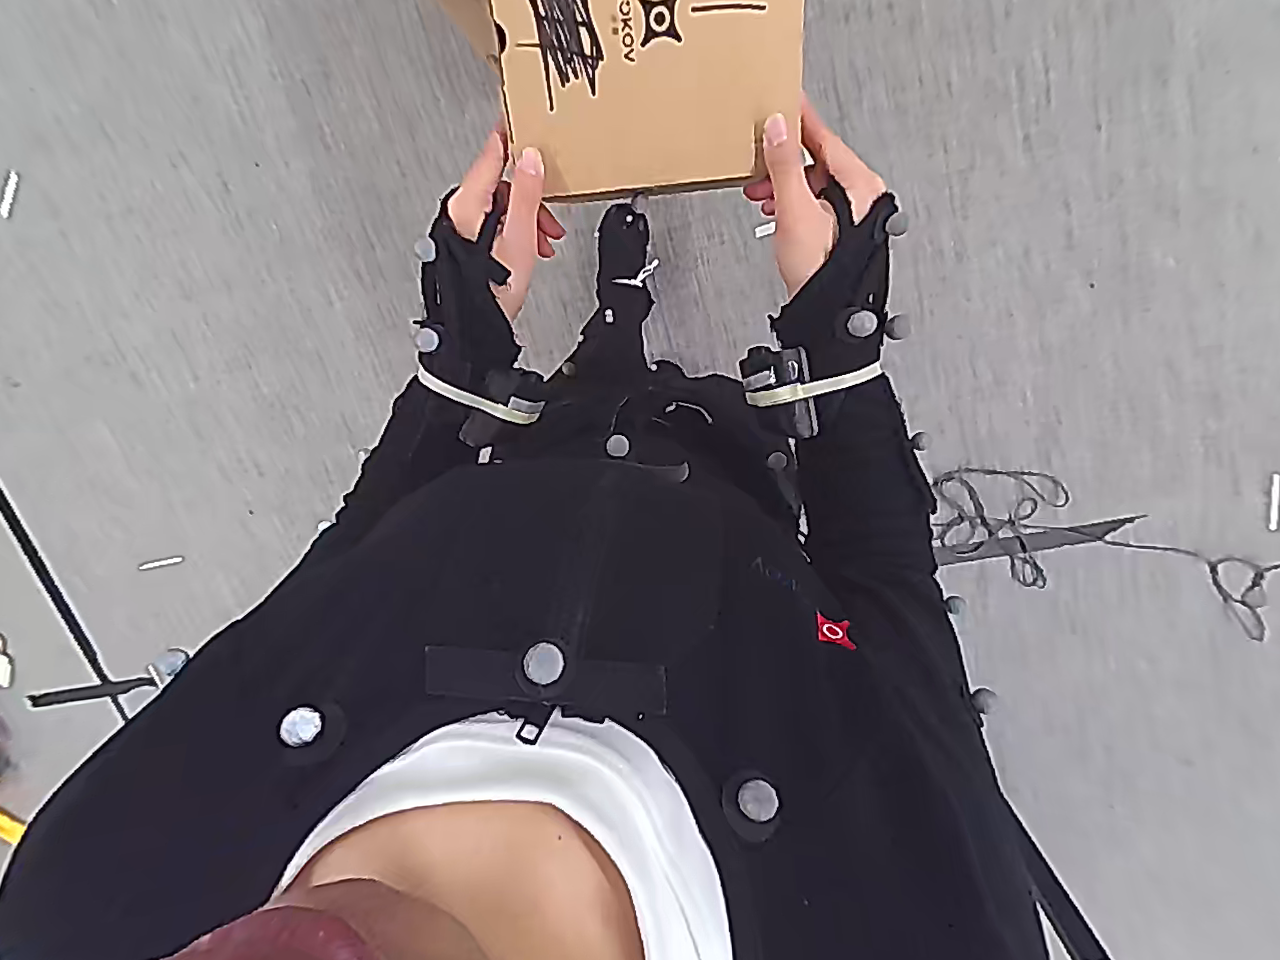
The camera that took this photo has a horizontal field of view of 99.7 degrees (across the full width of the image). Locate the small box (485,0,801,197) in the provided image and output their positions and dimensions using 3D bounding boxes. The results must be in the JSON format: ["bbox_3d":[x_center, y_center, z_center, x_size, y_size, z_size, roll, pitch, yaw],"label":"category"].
[{"bbox_3d":[0.005,-0.294,0.368,0.179,0.176,0.168,-3,116,5],"label":"small box"}]
